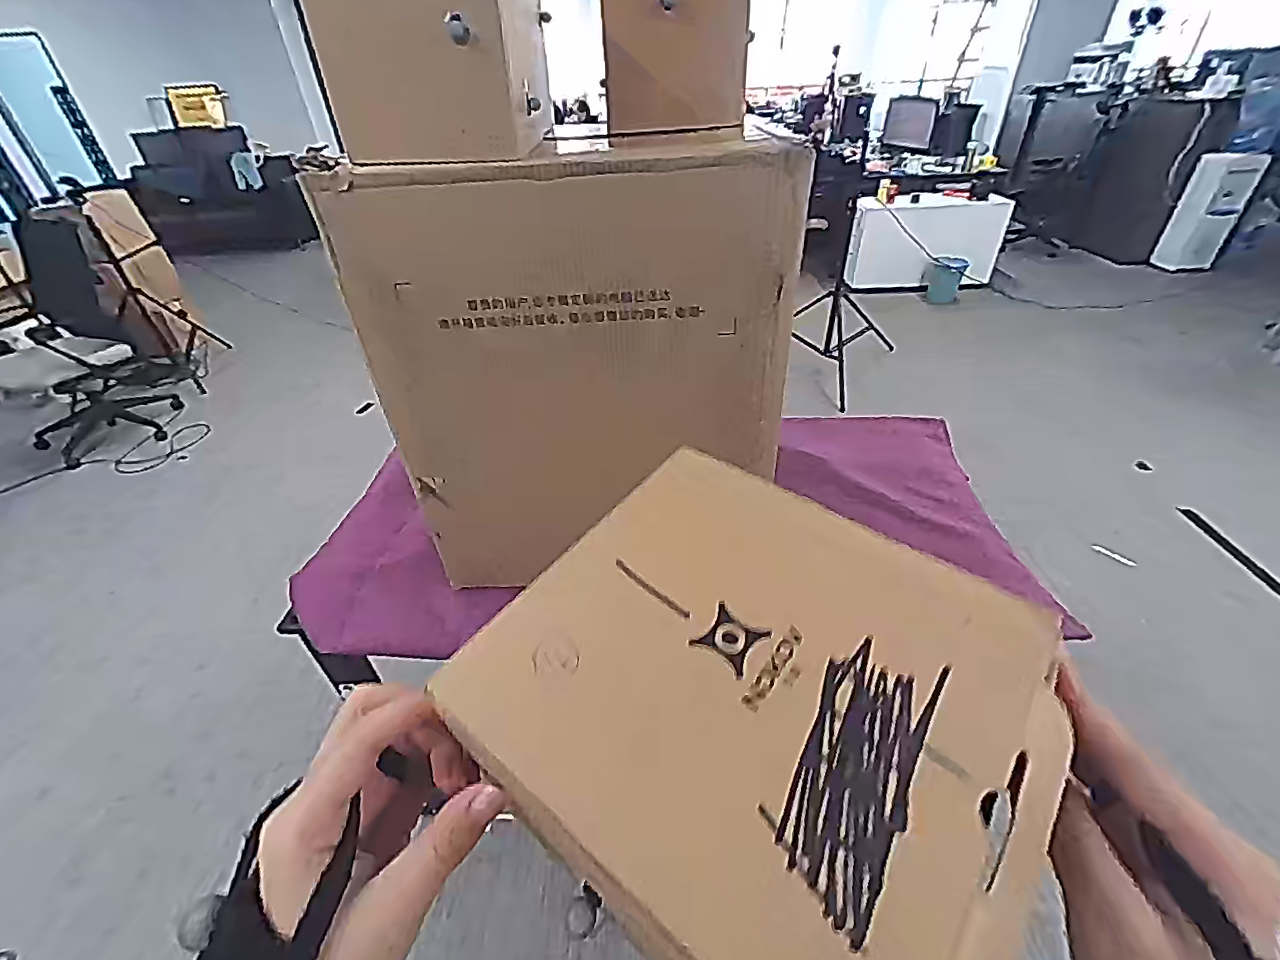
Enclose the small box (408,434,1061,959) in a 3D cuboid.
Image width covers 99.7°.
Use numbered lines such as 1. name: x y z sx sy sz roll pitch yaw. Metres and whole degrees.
1. small box: 0.038 0.114 0.248 0.179 0.176 0.168 28 52 28
